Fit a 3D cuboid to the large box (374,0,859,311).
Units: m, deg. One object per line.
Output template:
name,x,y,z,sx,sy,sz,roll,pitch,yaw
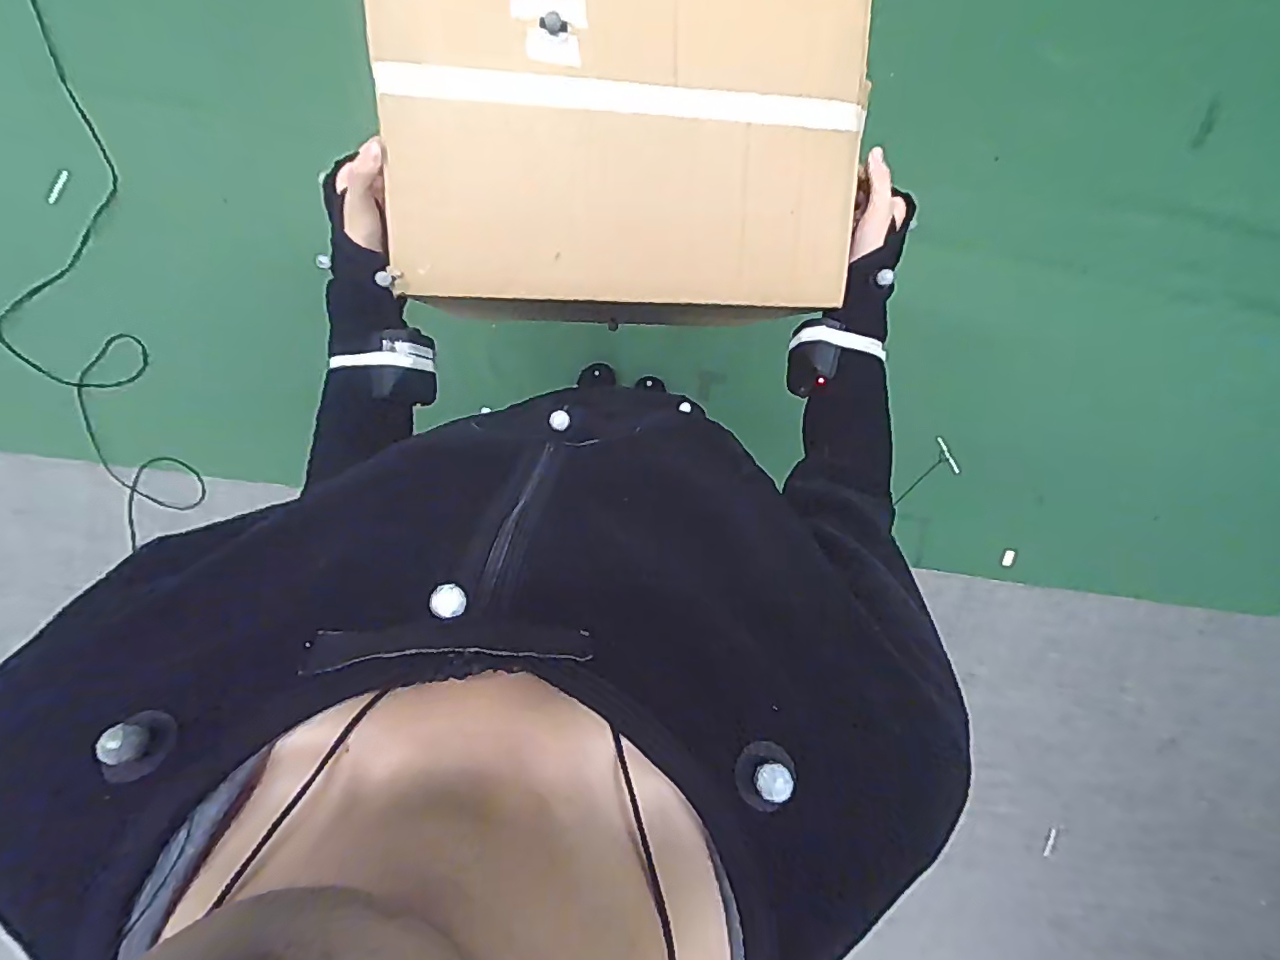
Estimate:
large box,-0.029,-0.354,0.600,0.408,0.320,0.320,-1,104,-8
